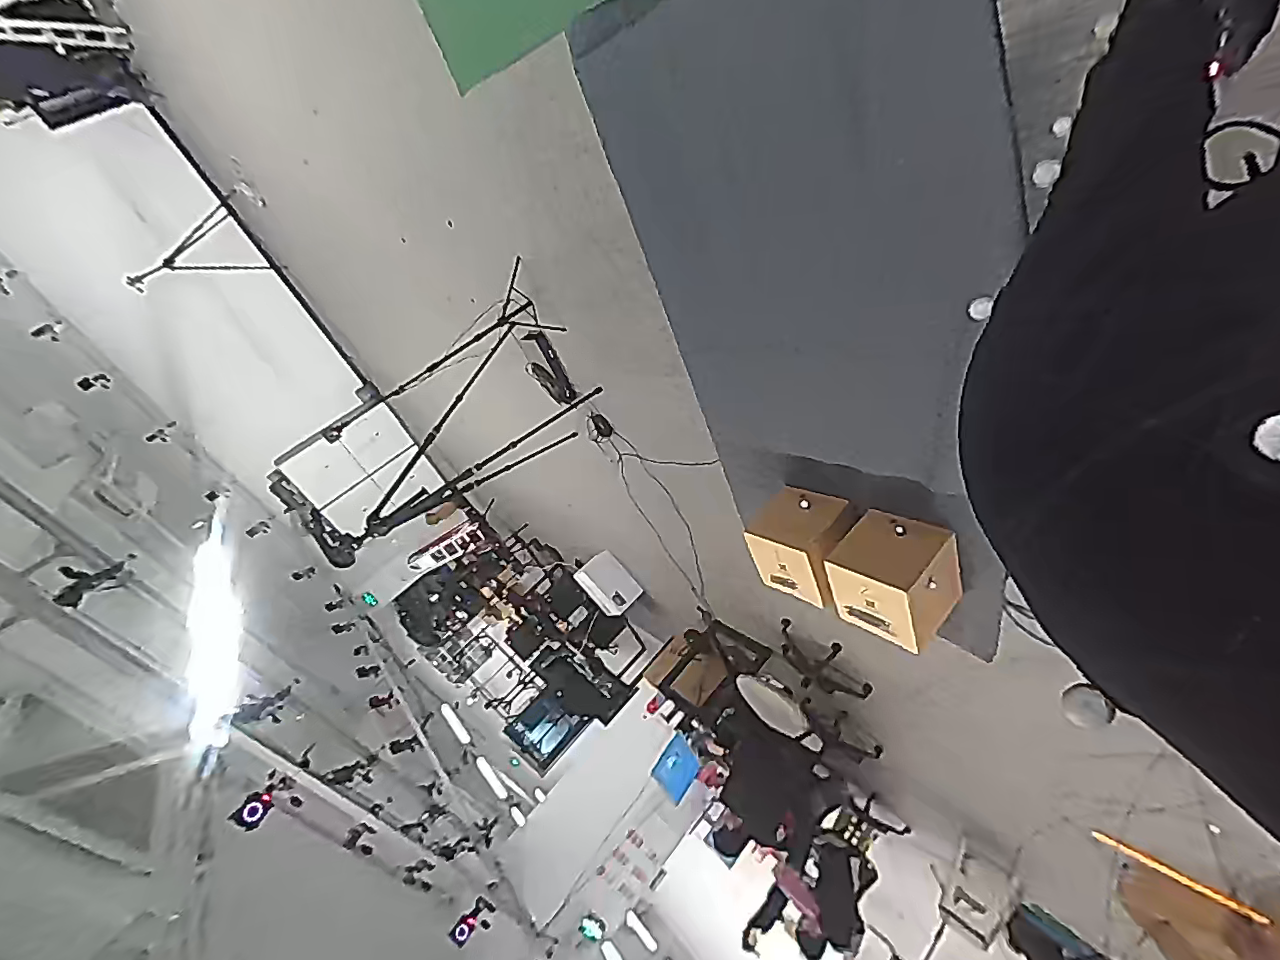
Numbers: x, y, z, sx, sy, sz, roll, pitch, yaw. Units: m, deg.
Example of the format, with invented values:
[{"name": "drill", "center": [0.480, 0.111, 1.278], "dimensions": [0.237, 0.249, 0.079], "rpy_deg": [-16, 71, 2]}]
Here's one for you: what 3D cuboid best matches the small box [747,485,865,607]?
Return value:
[{"name": "small box", "center": [0.373, 0.139, 1.197], "dimensions": [0.168, 0.176, 0.179], "rpy_deg": [17, 142, 50]}]
